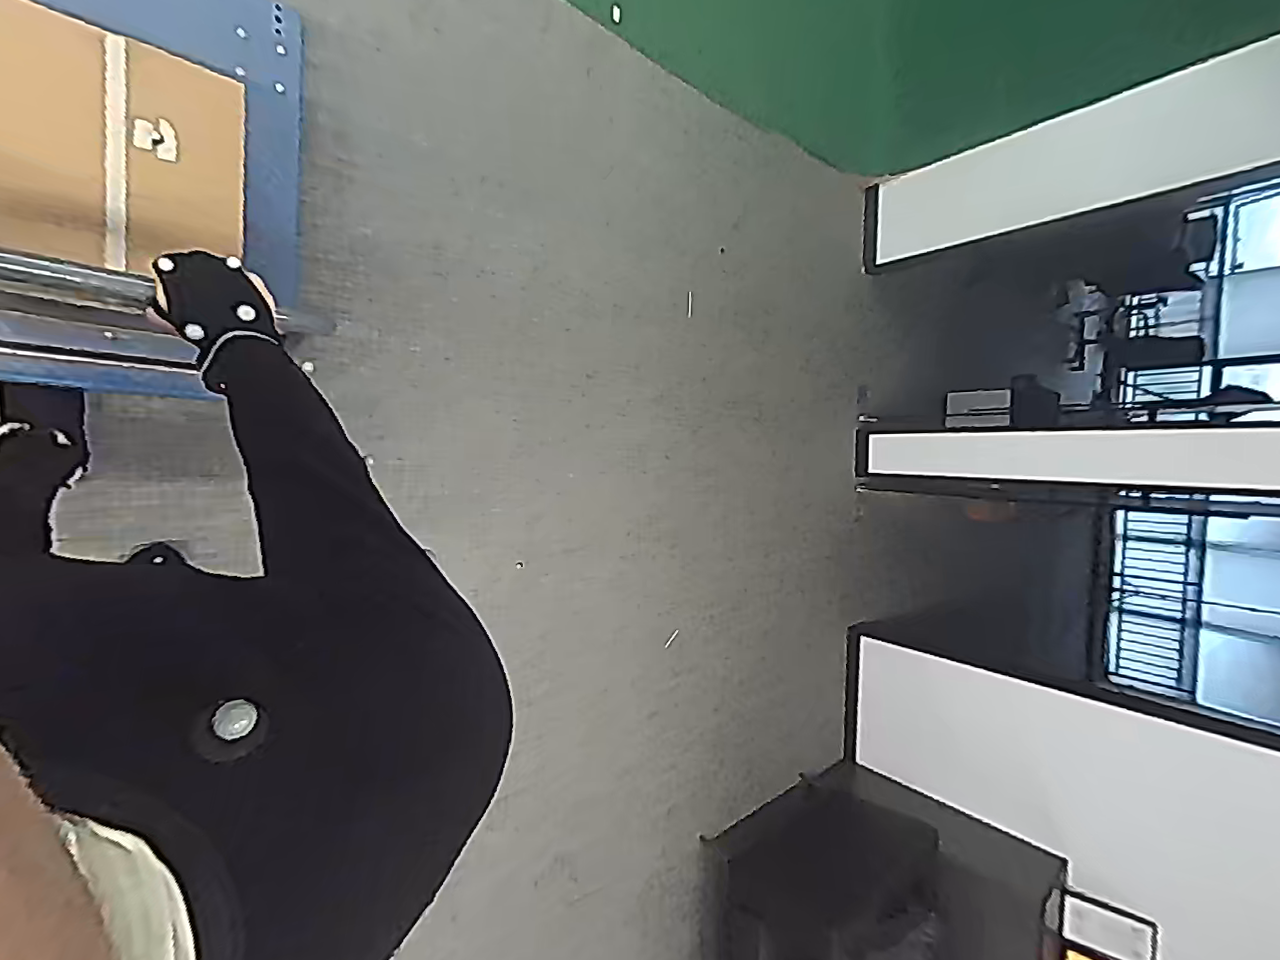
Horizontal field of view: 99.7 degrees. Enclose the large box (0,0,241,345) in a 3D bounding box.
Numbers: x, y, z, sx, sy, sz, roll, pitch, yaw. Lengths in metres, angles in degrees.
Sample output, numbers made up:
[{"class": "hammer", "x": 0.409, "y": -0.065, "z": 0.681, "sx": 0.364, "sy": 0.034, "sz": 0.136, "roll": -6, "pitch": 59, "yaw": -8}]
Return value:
[{"class": "large box", "x": -0.893, "y": -0.474, "z": 0.932, "sx": 0.320, "sy": 0.320, "sz": 0.408, "roll": 1, "pitch": 92, "yaw": -40}]
